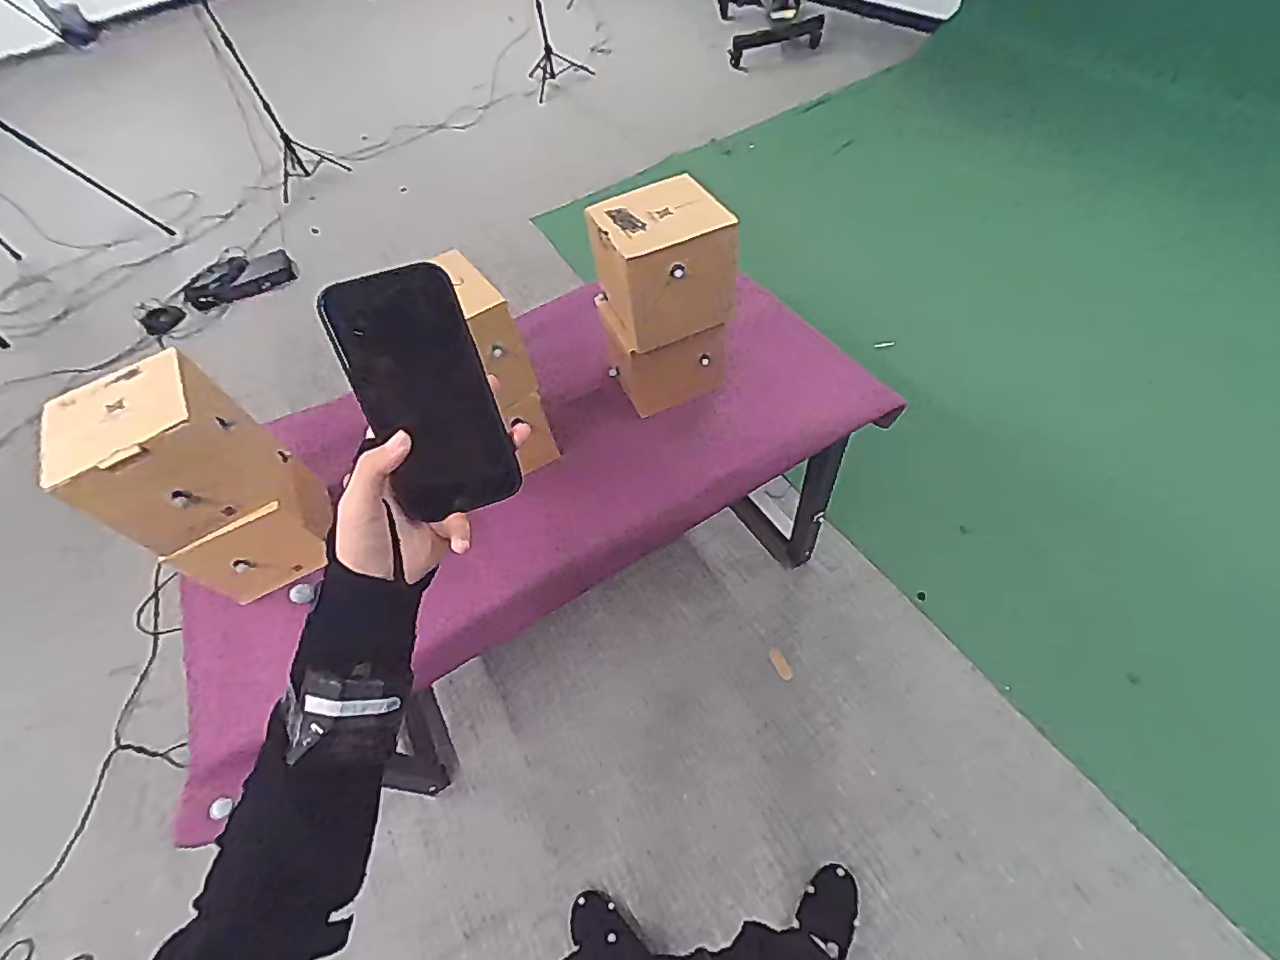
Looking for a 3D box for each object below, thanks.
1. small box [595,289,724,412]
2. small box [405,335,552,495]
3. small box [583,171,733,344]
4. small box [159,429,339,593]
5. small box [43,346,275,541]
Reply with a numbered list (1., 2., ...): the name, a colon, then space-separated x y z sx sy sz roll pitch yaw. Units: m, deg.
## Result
1. small box: 0.037 -0.255 0.984 0.179 0.176 0.168 -23 55 -7
2. small box: -0.264 -0.108 0.925 0.179 0.176 0.168 -28 56 -11
3. small box: 0.032 -0.341 0.844 0.179 0.176 0.168 -23 55 -8
4. small box: -0.612 0.059 0.862 0.168 0.176 0.179 -28 56 -11
5. small box: -0.636 -0.040 0.732 0.168 0.176 0.179 -32 58 -14
